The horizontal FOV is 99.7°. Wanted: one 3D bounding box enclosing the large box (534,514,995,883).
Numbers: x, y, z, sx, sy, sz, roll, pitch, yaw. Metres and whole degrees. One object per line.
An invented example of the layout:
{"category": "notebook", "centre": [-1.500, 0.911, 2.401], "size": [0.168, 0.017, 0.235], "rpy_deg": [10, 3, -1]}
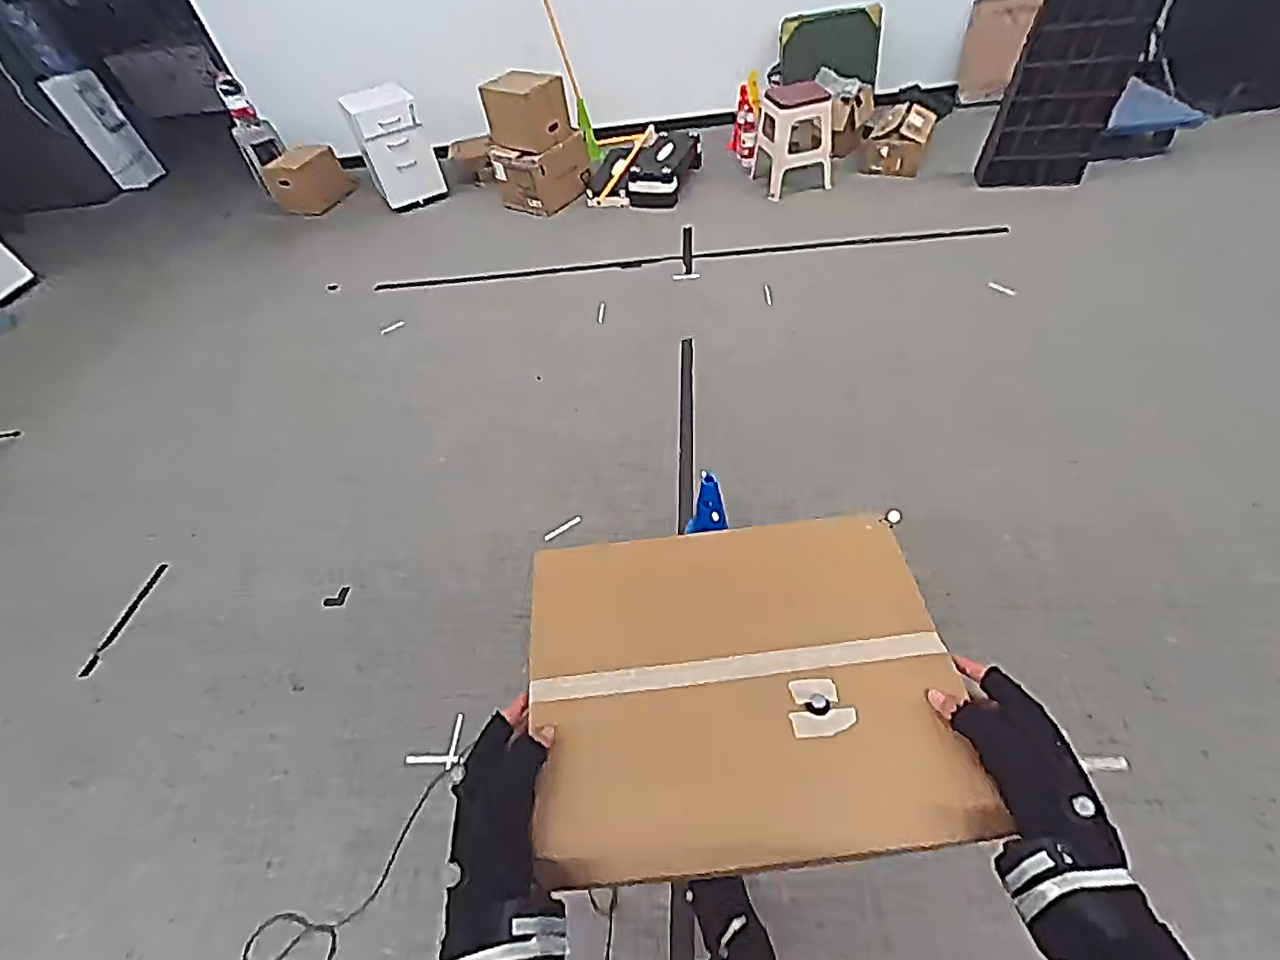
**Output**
{"category": "large box", "centre": [0.101, 0.275, 0.662], "size": [0.408, 0.320, 0.320], "rpy_deg": [-7, 53, 0]}
